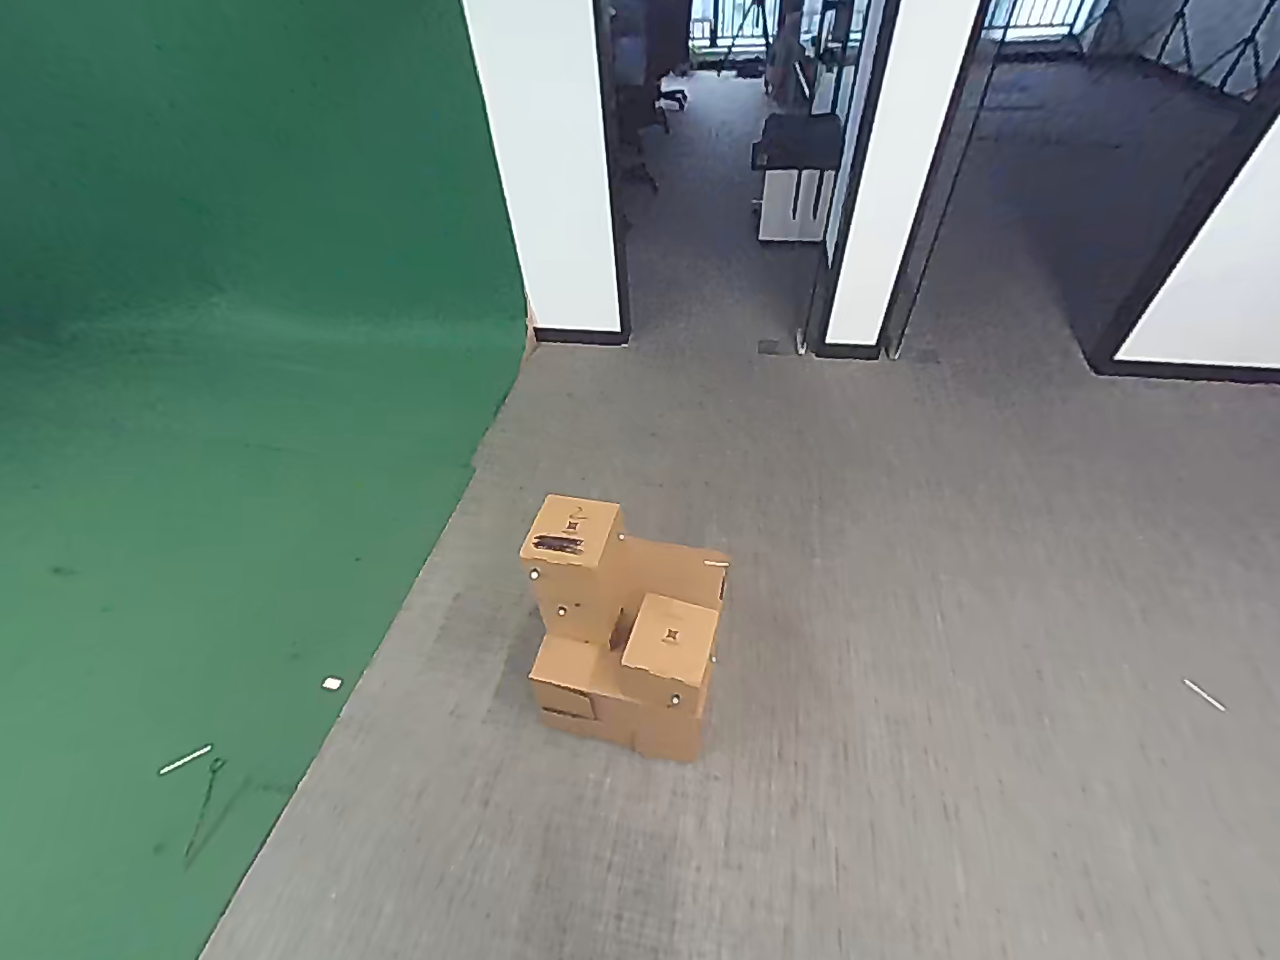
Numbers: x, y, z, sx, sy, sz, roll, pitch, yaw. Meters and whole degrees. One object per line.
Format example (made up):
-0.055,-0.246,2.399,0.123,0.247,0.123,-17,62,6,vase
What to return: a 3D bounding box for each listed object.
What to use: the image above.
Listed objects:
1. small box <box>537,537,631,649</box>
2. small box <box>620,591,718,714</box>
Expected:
-0.124,0.268,1.287,0.168,0.176,0.179,10,46,15,small box
0.067,0.375,1.169,0.168,0.176,0.179,12,46,13,small box
